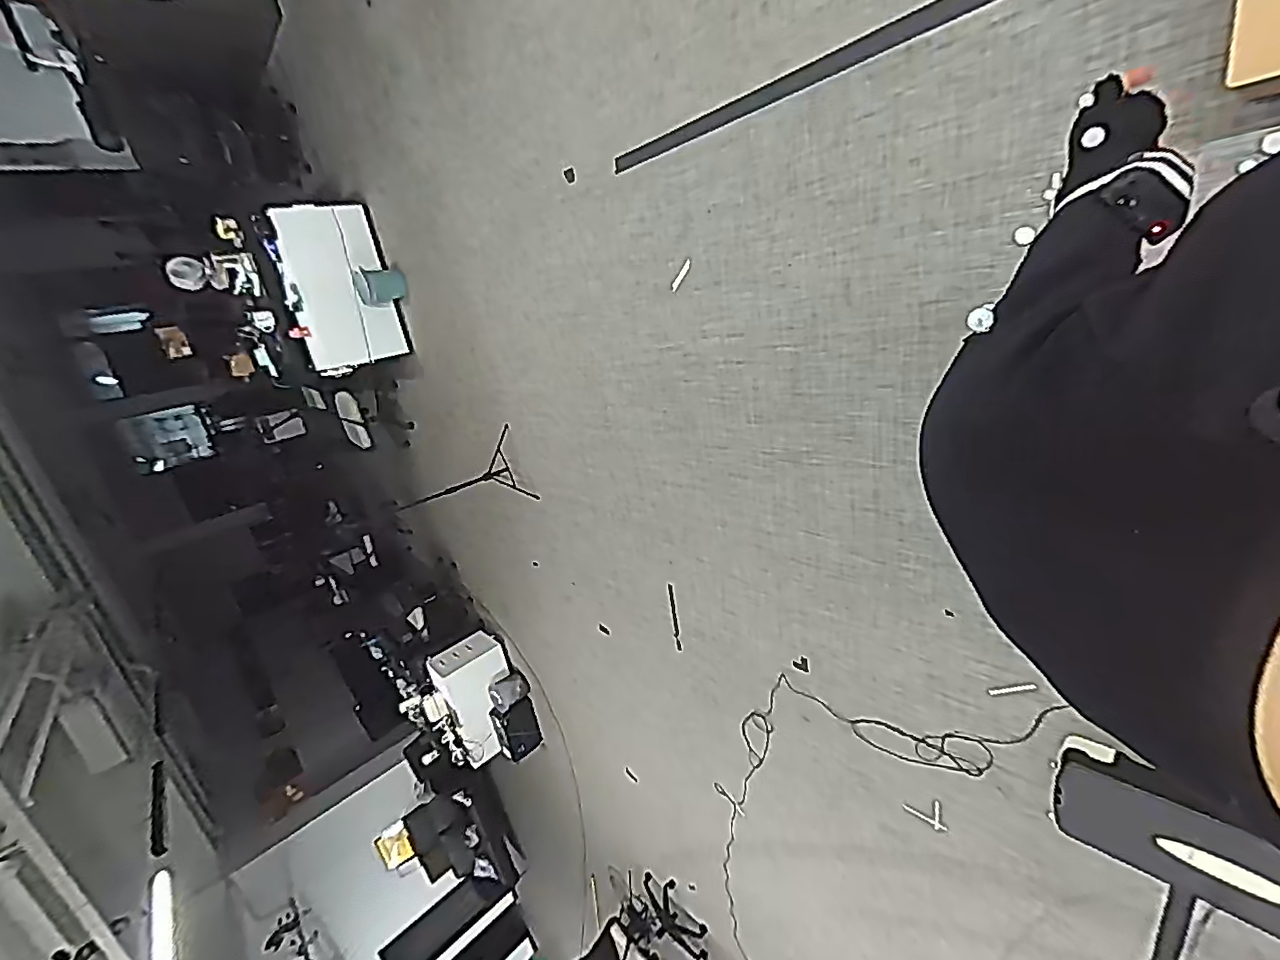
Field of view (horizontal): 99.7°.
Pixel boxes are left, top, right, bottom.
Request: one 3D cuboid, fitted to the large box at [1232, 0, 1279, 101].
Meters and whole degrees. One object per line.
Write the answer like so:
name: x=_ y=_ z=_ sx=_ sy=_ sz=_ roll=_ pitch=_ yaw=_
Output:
large box: x=1.010 y=-0.711 z=0.636 sx=0.408 sy=0.320 sz=0.320 roll=9 pitch=118 yaw=47
